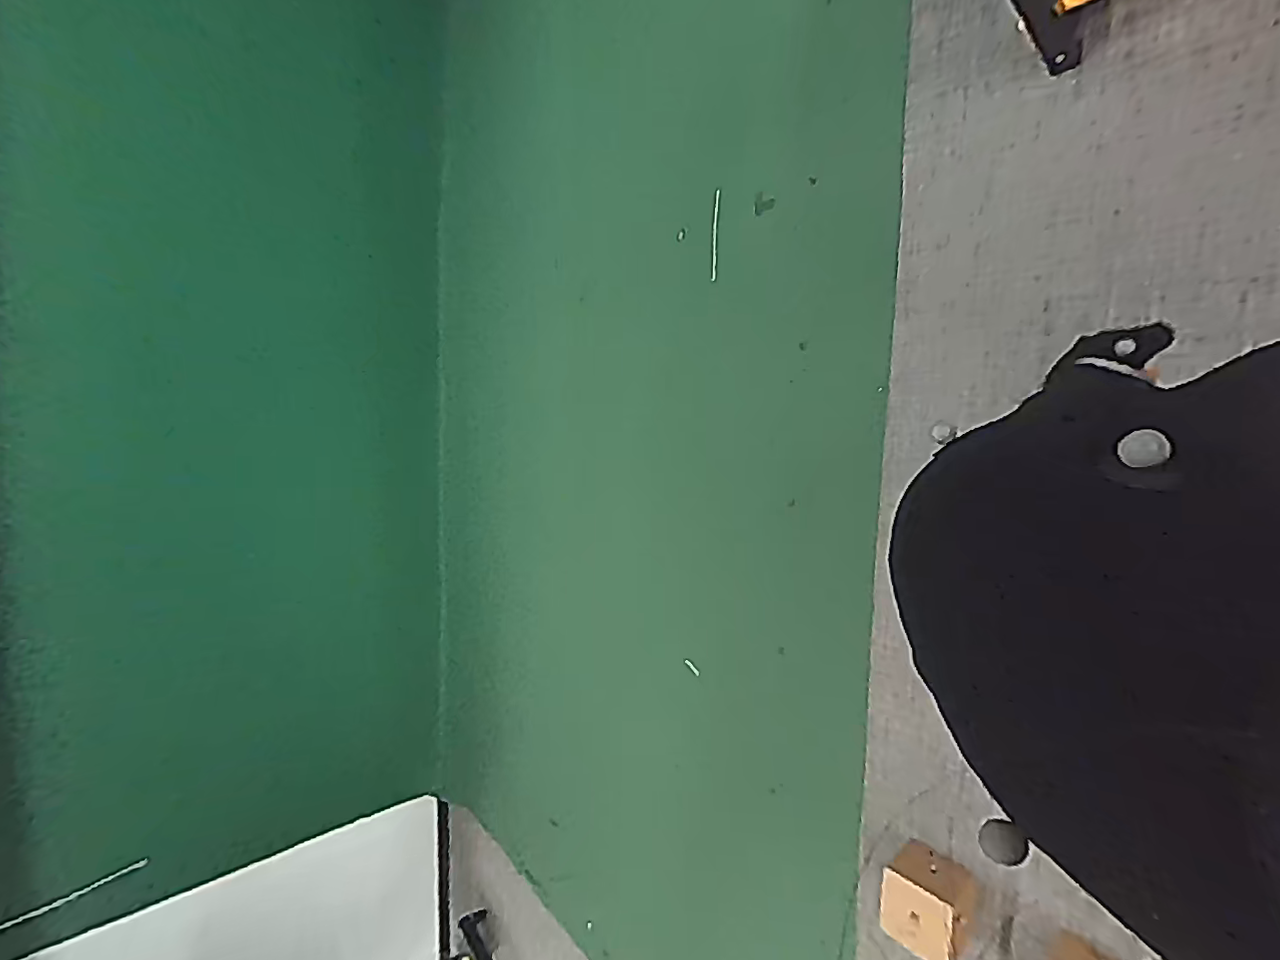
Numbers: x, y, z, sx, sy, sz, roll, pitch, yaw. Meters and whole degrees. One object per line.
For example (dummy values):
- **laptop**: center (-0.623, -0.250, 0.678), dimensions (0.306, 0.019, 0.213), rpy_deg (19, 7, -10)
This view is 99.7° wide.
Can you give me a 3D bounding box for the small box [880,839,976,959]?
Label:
- **small box**: center (0.740, 1.074, 1.384), dimensions (0.168, 0.176, 0.179), rpy_deg (8, 97, 49)
